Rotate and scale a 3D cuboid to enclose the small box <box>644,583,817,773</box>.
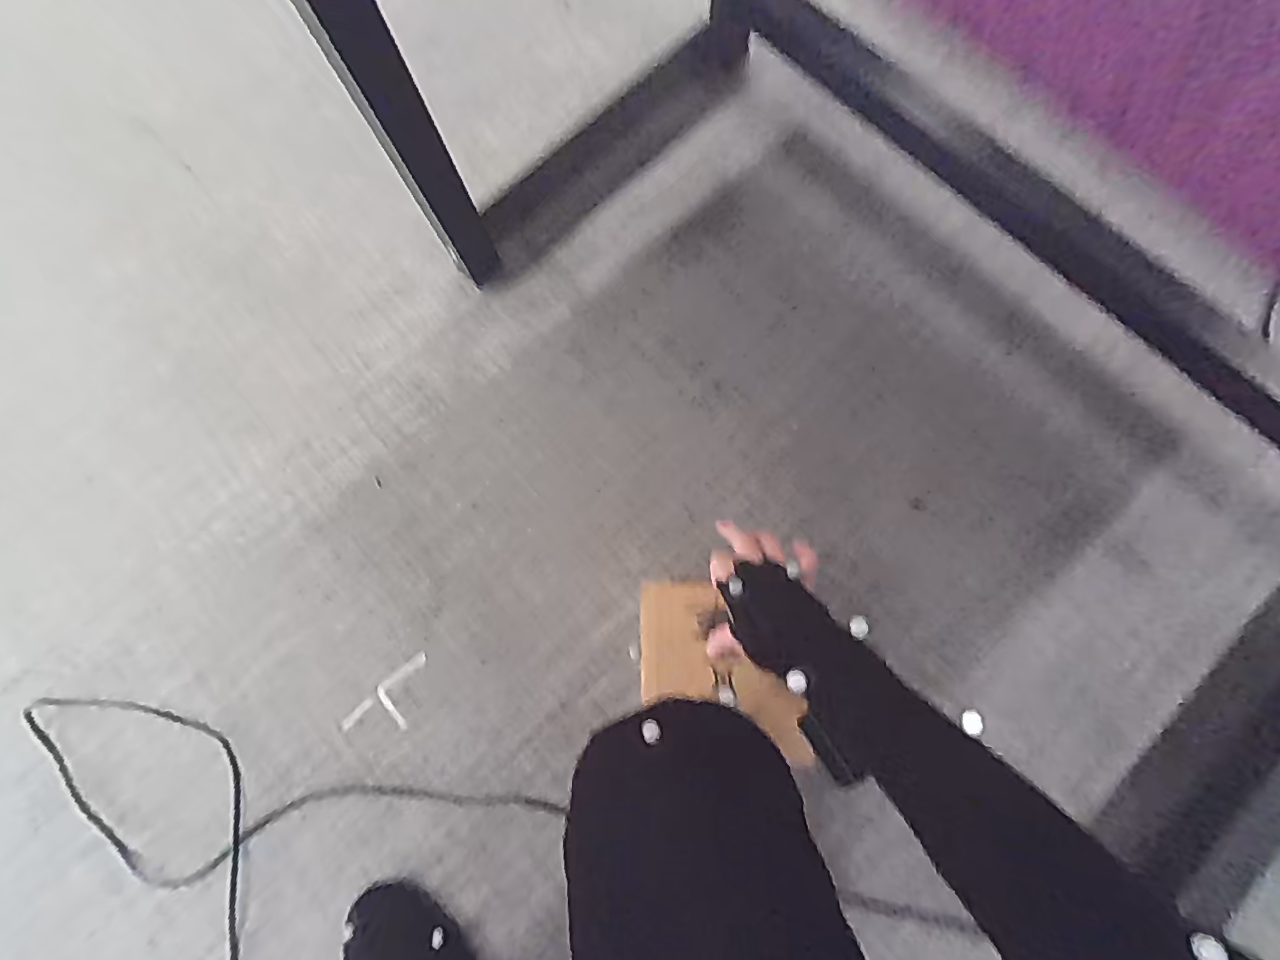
[{"bbox_3d":[0.089,0.206,0.604,0.168,0.176,0.179,-1,79,3],"label":"small box"}]
